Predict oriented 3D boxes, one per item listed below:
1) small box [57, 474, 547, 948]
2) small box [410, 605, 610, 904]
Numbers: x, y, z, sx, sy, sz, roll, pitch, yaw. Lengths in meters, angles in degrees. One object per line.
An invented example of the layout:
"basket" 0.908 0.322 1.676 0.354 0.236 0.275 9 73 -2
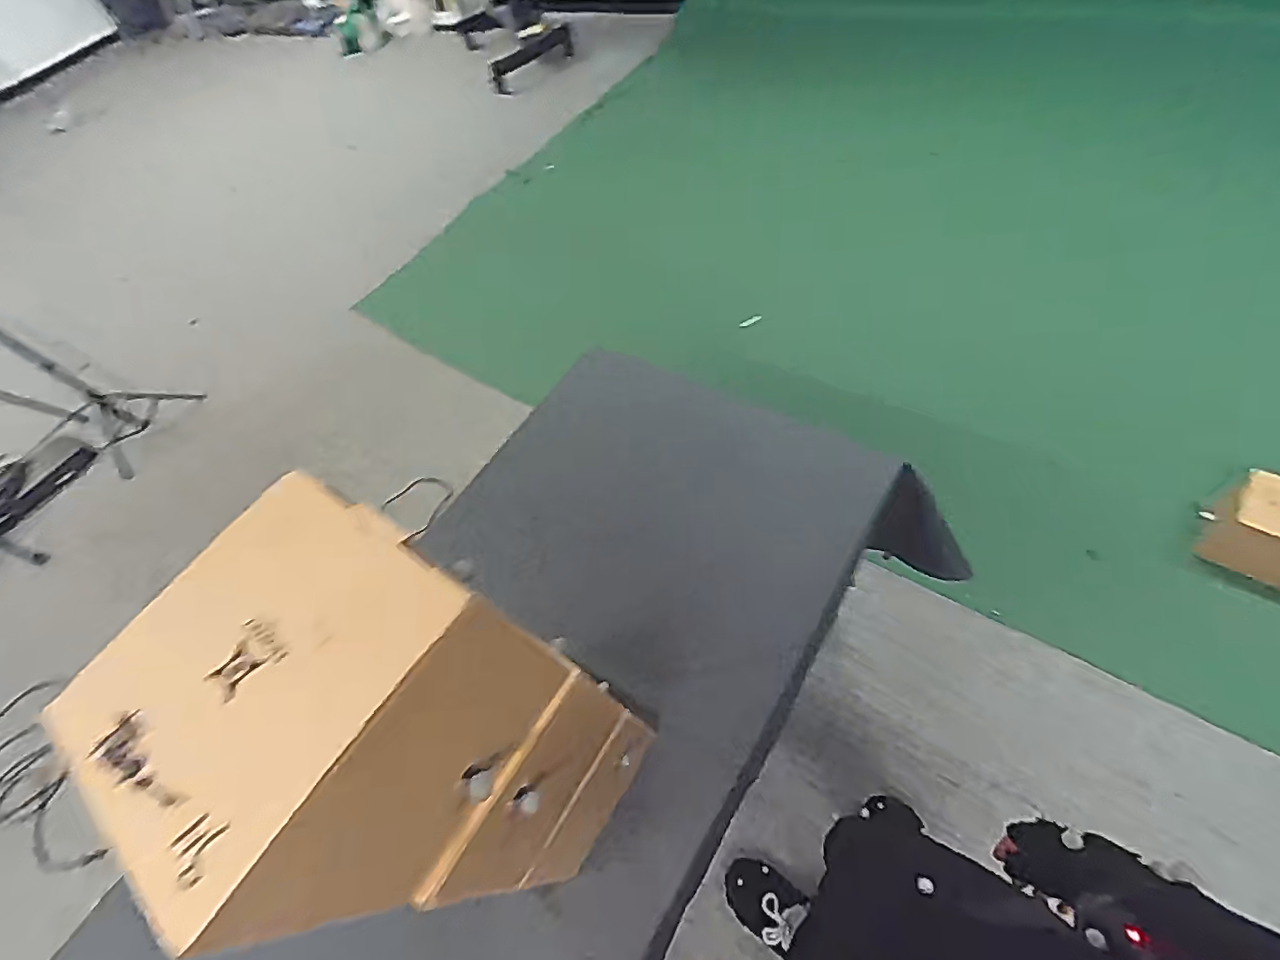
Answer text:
"small box" -0.181 0.134 0.347 0.168 0.176 0.179 27 67 27
"small box" -0.143 0.221 0.480 0.168 0.176 0.179 25 67 26
